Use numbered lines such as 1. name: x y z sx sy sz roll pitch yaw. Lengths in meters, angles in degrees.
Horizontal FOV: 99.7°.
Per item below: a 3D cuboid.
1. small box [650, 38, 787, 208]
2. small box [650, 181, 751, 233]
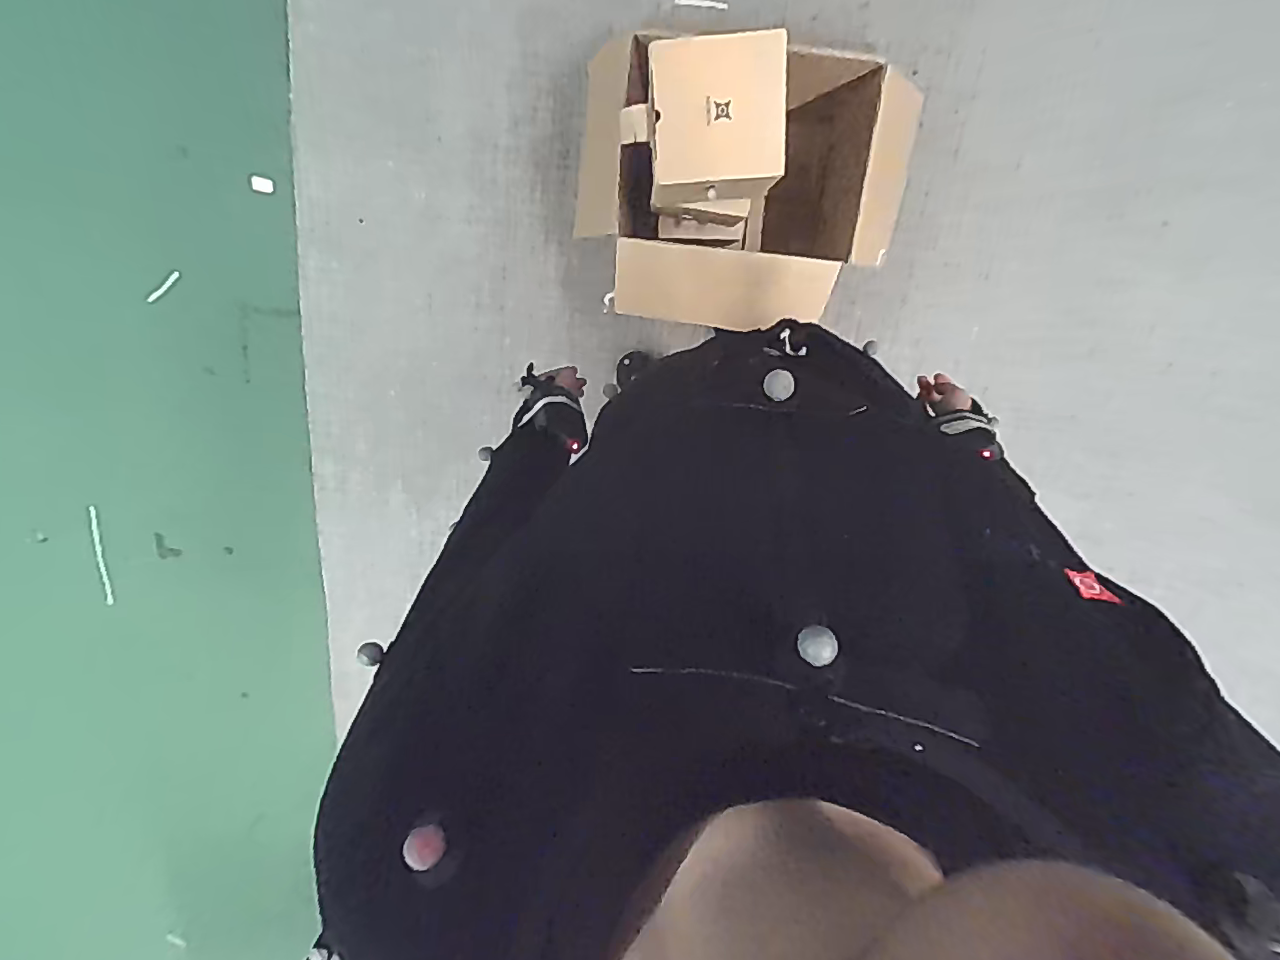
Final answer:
1. small box: 0.105 -0.501 0.784 0.179 0.176 0.168 -3 108 3
2. small box: 0.110 -0.544 0.940 0.168 0.176 0.179 9 109 -2
